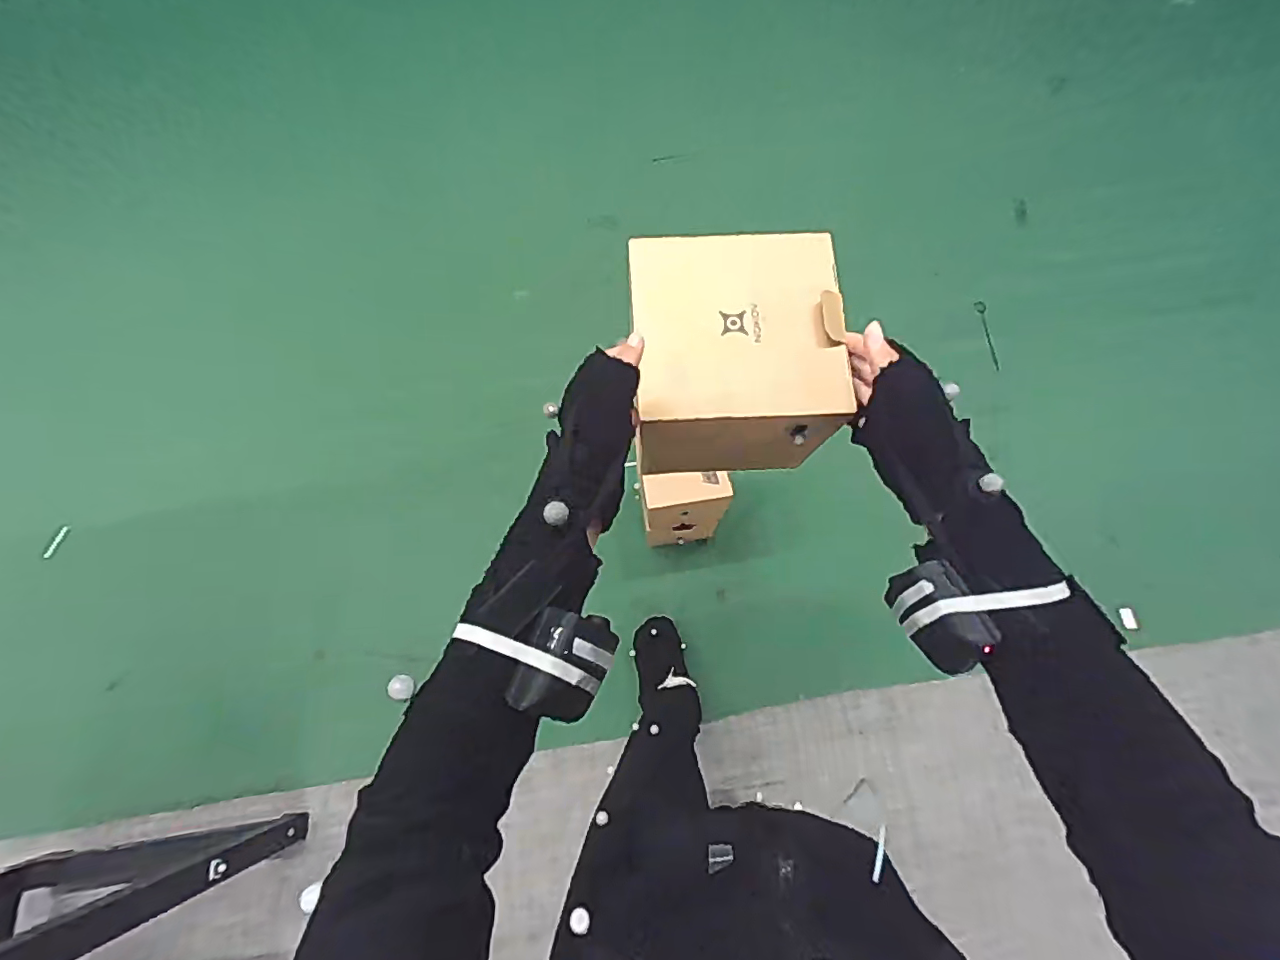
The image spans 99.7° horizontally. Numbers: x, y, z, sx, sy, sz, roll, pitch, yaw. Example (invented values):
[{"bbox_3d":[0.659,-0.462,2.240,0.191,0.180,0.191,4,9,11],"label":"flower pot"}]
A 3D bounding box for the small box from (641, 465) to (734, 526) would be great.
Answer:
[{"bbox_3d":[0.094,-0.005,1.167,0.179,0.176,0.168,-6,69,-1],"label":"small box"}]

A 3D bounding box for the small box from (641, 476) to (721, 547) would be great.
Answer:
[{"bbox_3d":[0.094,0.053,1.324,0.168,0.176,0.179,-9,71,-1],"label":"small box"}]

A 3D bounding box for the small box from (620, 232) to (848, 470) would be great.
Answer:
[{"bbox_3d":[0.074,-0.111,0.523,0.179,0.176,0.168,-3,76,-2],"label":"small box"}]
